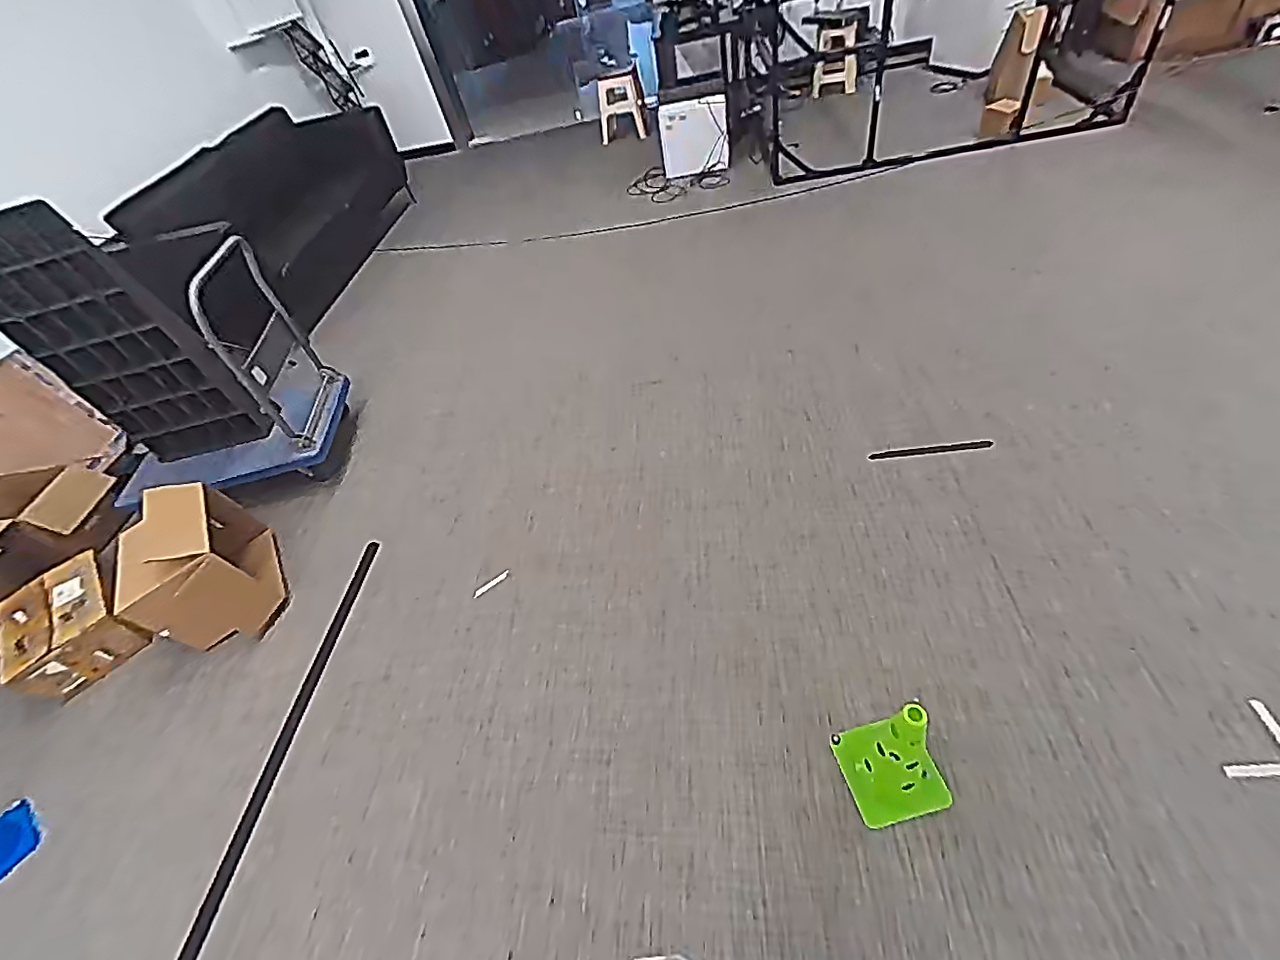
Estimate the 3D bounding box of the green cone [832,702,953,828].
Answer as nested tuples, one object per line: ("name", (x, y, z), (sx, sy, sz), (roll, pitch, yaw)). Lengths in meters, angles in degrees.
("green cone", (0.536, 0.544, 1.099), (0.202, 0.368, 0.200), (-16, 47, -2))
